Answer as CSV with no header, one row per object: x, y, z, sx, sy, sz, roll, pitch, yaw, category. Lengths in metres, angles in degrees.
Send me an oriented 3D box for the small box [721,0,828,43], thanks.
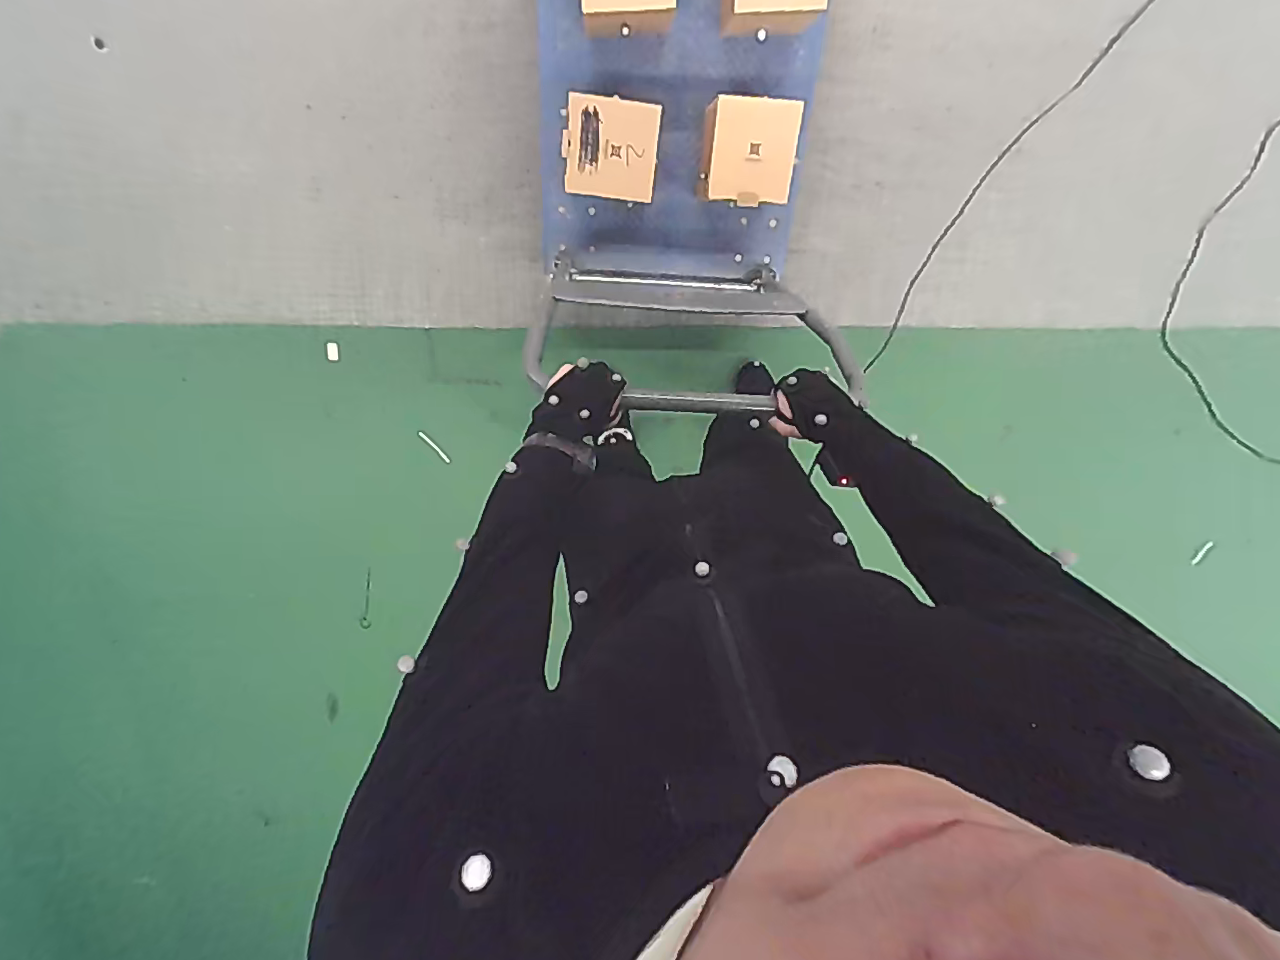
0.244,-0.928,0.986,0.168,0.176,0.179,-2,119,-1,small box

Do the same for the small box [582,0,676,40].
-0.023,-0.921,0.977,0.168,0.176,0.179,-4,118,-2,small box

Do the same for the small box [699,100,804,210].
0.221,-0.666,1.123,0.168,0.176,0.179,2,118,-4,small box
